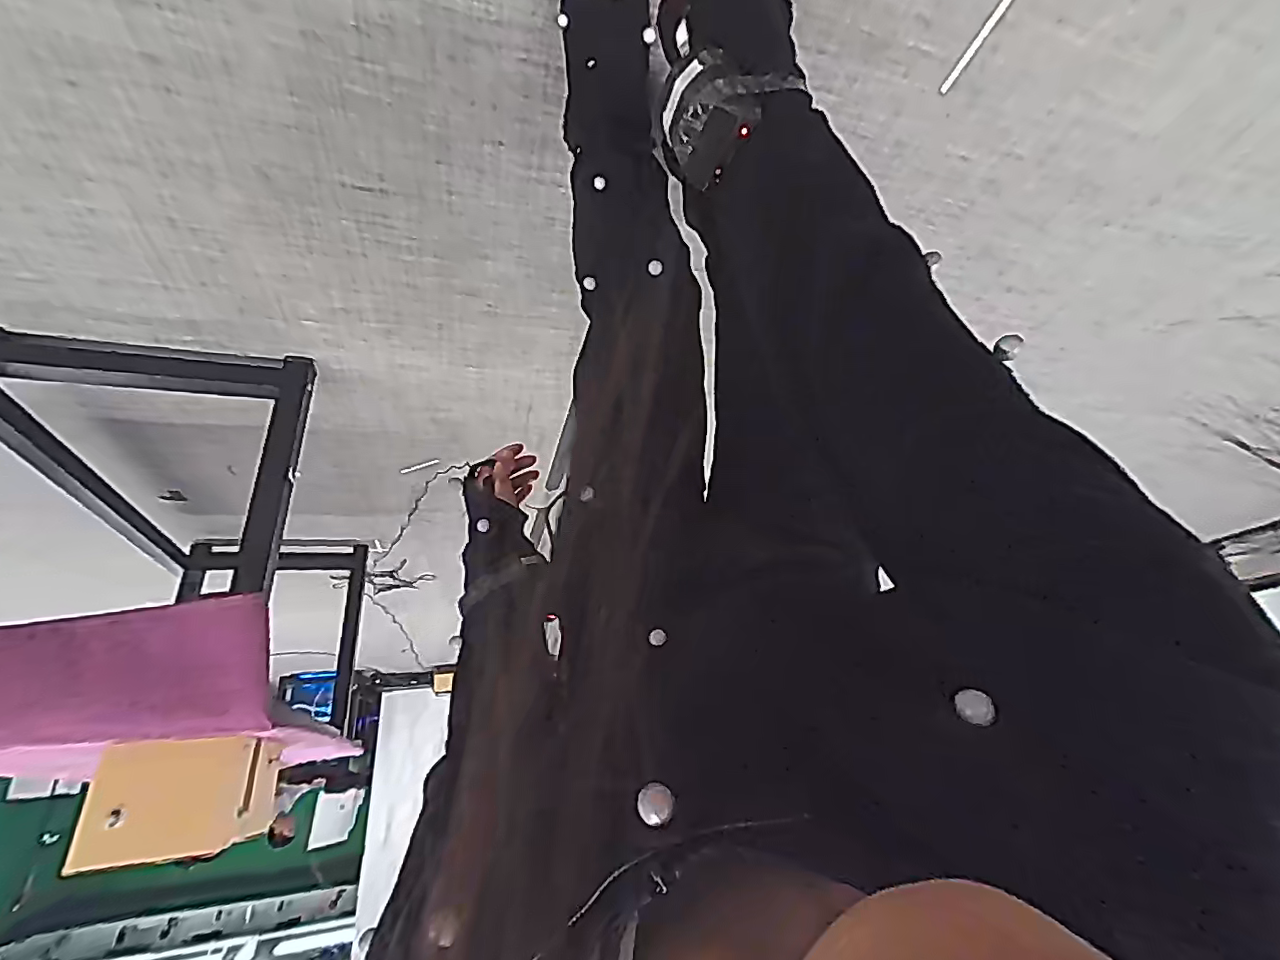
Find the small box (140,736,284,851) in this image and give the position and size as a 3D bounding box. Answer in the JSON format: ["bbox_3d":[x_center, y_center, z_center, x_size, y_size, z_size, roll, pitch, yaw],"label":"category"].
[{"bbox_3d":[-0.824,0.606,1.062,0.168,0.176,0.179,2,152,-19],"label":"small box"}]
